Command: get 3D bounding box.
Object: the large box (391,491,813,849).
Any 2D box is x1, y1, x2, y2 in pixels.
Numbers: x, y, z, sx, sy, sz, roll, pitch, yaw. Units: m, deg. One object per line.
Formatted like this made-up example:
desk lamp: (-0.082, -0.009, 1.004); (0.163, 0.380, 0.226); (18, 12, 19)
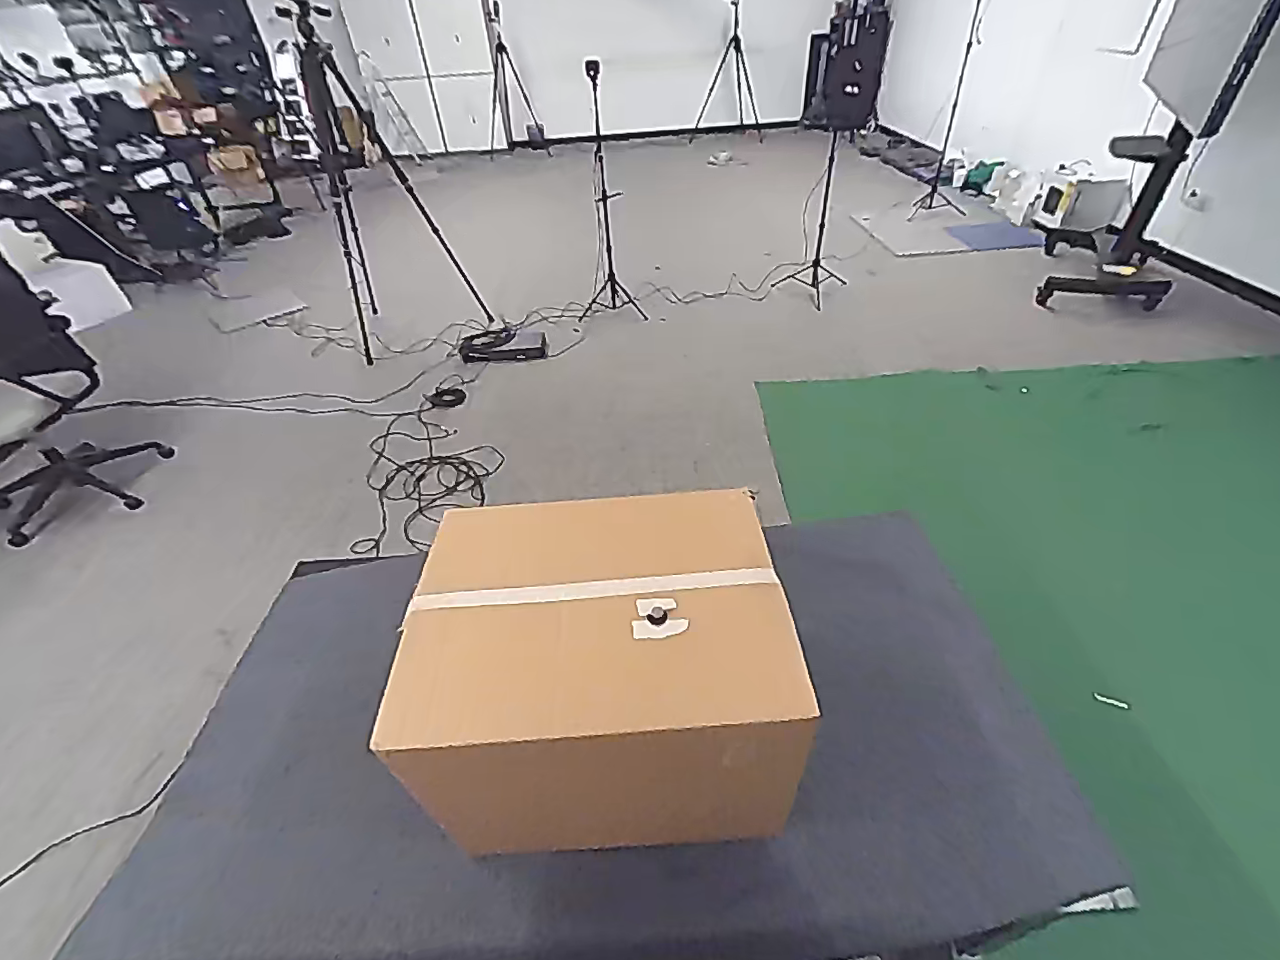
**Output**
large box: (-0.037, 0.242, 0.708); (0.408, 0.320, 0.320); (-4, 41, -1)
